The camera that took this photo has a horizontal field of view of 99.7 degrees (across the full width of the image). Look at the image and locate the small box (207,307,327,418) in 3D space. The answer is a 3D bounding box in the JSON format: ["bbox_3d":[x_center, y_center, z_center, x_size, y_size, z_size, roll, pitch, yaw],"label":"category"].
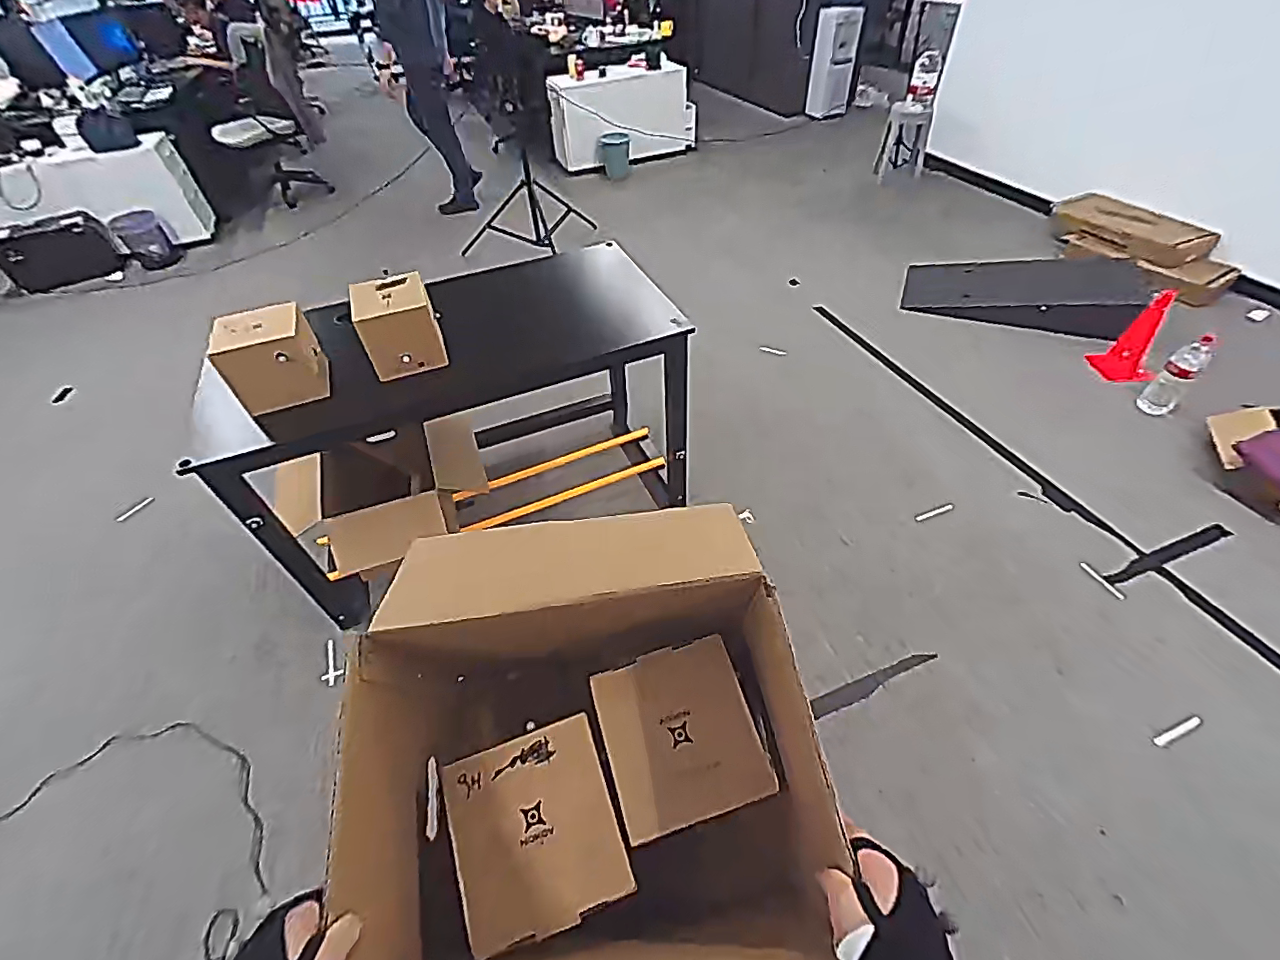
[{"bbox_3d":[-0.848,-0.271,1.252,0.179,0.176,0.168,-19,48,-14],"label":"small box"}]

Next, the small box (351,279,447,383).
[{"bbox_3d":[-0.588,-0.364,1.325,0.168,0.176,0.179,-18,49,-13],"label":"small box"}]
